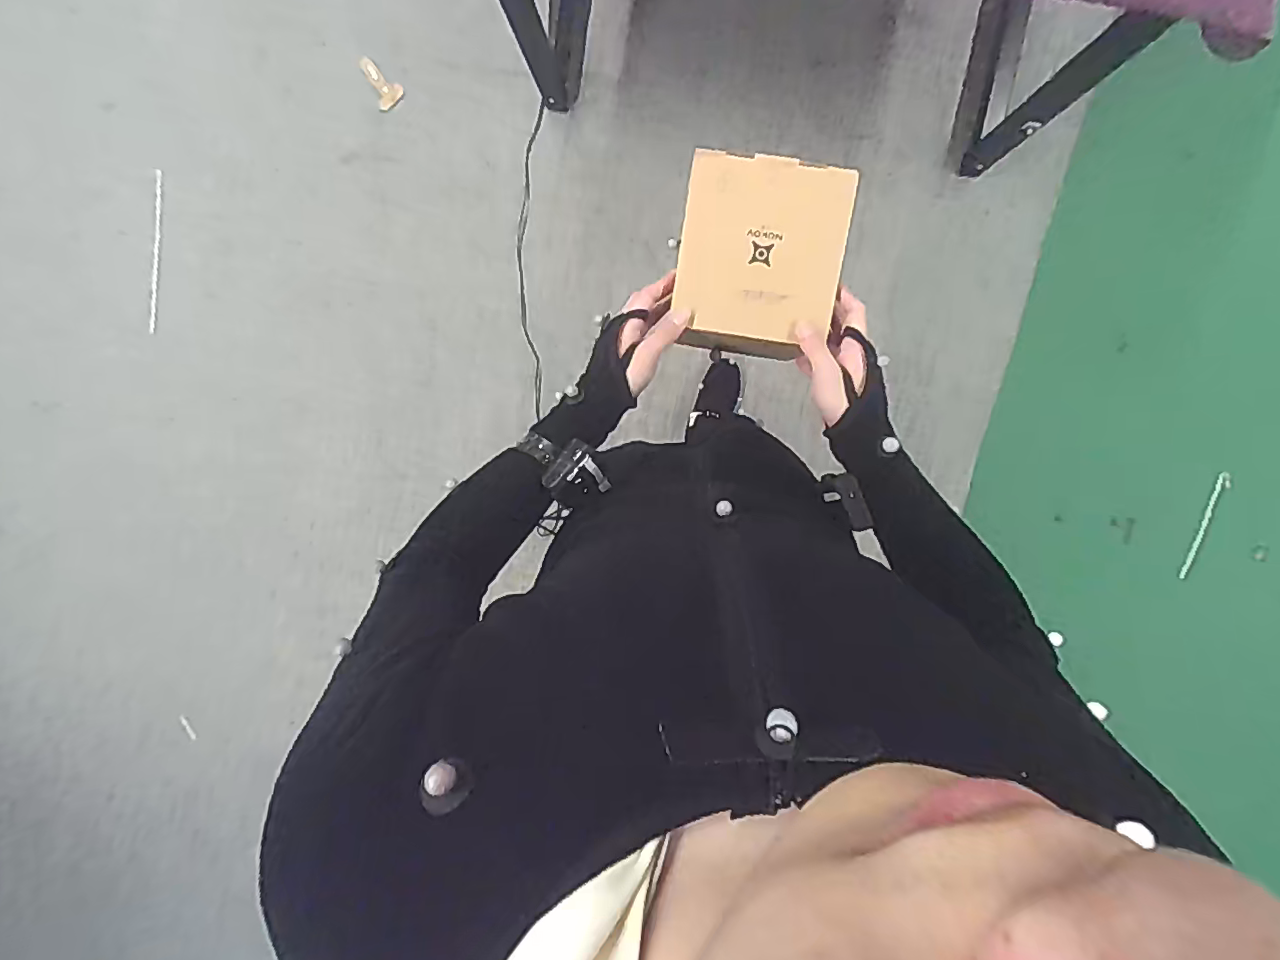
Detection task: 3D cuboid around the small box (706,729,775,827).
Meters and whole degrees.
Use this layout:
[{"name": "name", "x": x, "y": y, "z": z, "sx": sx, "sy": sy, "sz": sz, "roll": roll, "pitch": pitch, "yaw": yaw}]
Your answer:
[{"name": "small box", "x": 0.301, "y": 0.904, "z": 1.652, "sx": 0.168, "sy": 0.176, "sz": 0.179, "roll": 13, "pitch": 100, "yaw": 3}]

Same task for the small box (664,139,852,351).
[{"name": "small box", "x": 0.121, "y": -0.253, "z": 0.624, "sx": 0.168, "sy": 0.176, "sz": 0.179, "roll": 9, "pitch": 101, "yaw": 2}]
